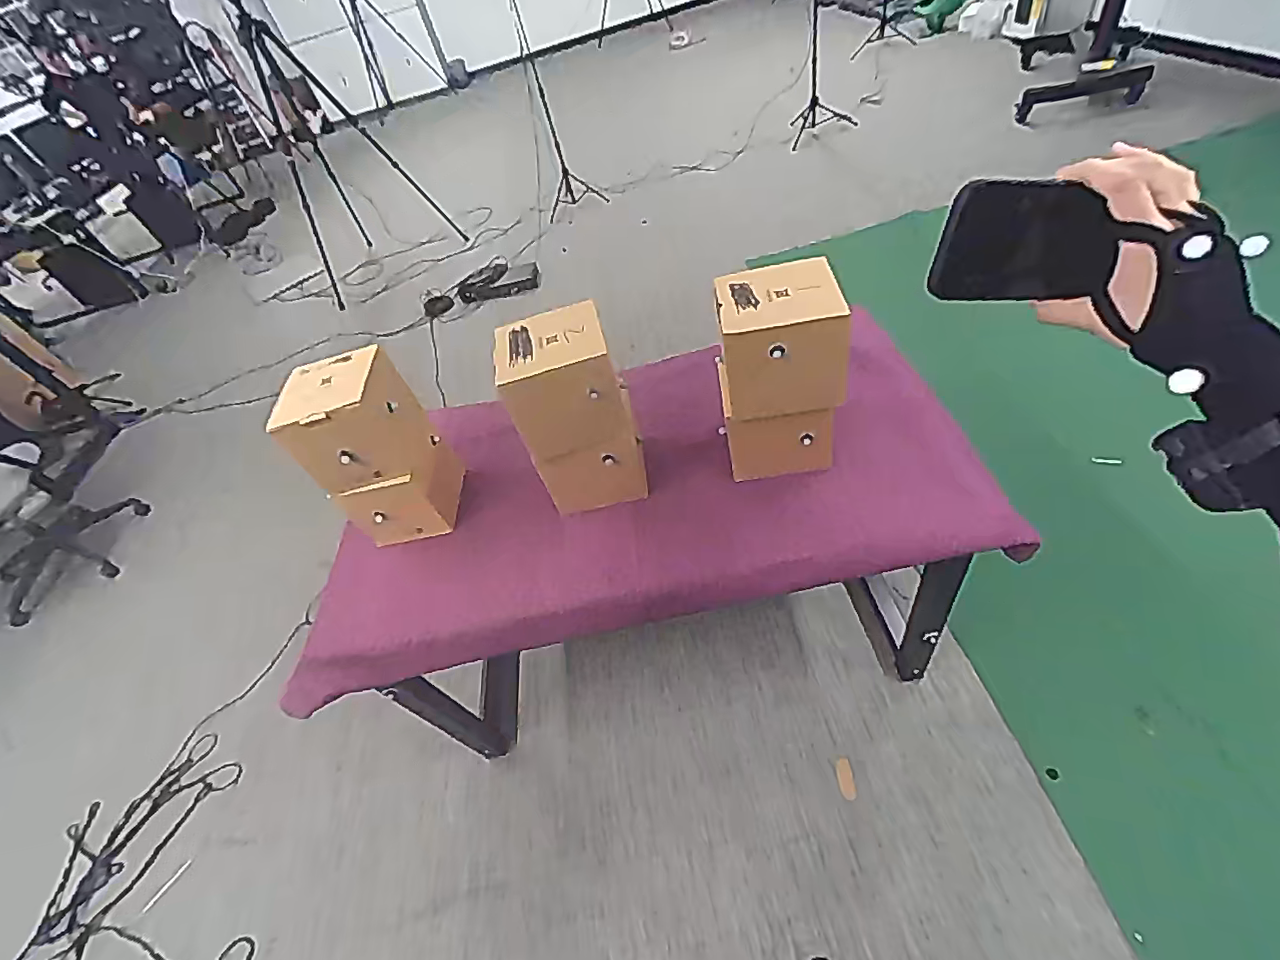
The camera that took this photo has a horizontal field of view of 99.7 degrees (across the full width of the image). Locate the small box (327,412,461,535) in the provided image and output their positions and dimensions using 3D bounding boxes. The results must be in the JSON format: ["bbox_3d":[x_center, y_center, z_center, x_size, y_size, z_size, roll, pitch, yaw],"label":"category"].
[{"bbox_3d":[-0.478,-0.004,1.085,0.168,0.176,0.179,-11,48,7],"label":"small box"}]

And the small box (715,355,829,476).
[{"bbox_3d":[0.236,-0.126,0.983,0.179,0.176,0.168,-7,48,11],"label":"small box"}]

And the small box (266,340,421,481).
[{"bbox_3d":[-0.515,-0.116,0.970,0.168,0.176,0.179,-15,48,3],"label":"small box"}]

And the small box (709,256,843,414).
[{"bbox_3d":[0.210,-0.221,0.851,0.179,0.176,0.168,-7,48,10],"label":"small box"}]

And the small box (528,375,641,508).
[{"bbox_3d":[-0.097,-0.069,1.028,0.179,0.176,0.168,-12,48,6],"label":"small box"}]
